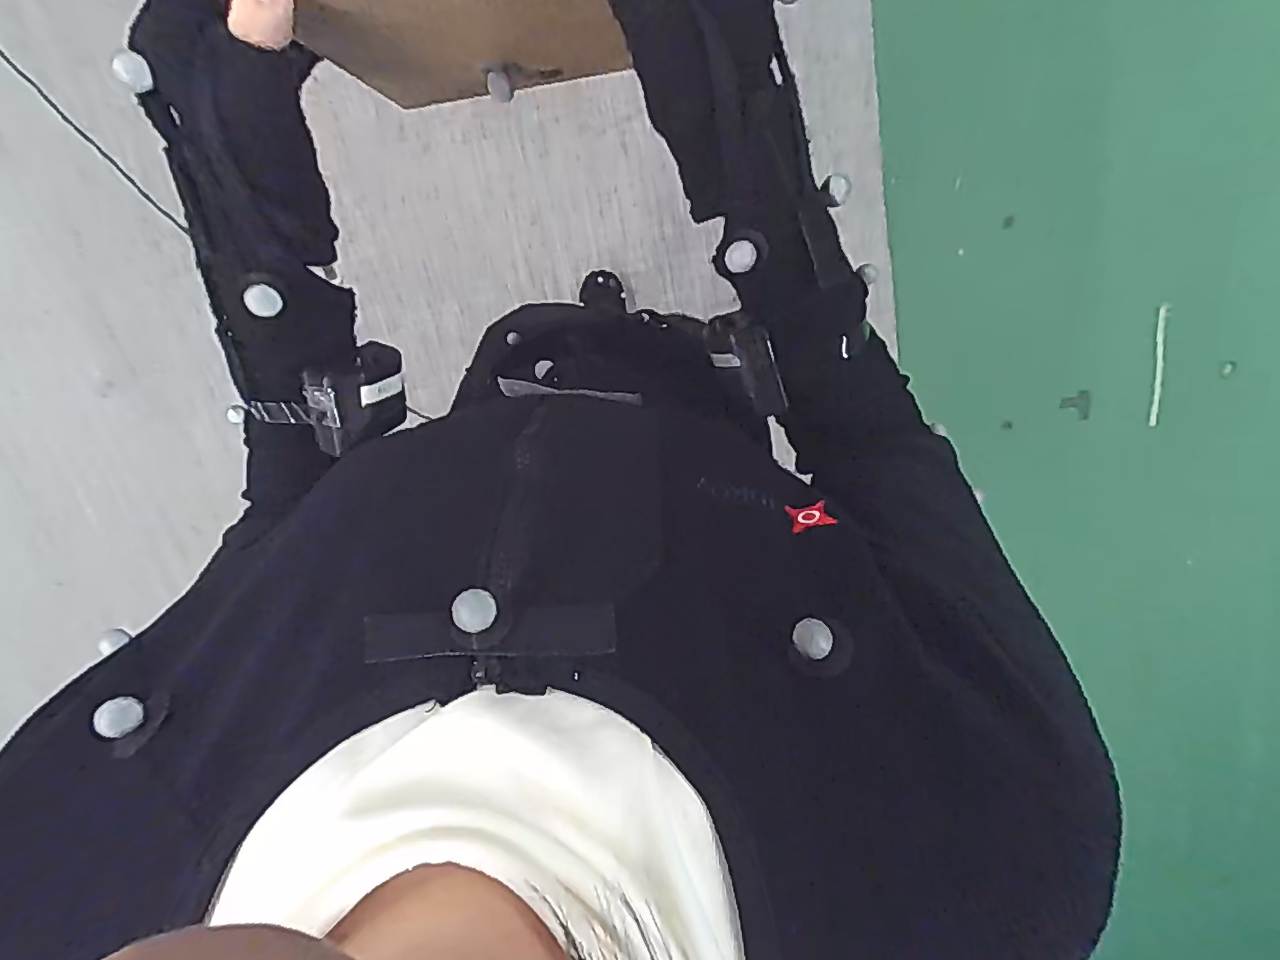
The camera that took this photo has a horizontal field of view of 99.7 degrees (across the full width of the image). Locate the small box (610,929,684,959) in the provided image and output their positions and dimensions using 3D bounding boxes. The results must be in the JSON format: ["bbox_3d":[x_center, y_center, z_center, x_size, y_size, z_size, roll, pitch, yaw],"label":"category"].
[{"bbox_3d":[0.028,1.257,1.322,0.168,0.176,0.179,-17,107,3],"label":"small box"}]

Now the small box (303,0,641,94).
[{"bbox_3d":[-0.091,-0.312,0.246,0.168,0.176,0.179,-8,112,3],"label":"small box"}]
